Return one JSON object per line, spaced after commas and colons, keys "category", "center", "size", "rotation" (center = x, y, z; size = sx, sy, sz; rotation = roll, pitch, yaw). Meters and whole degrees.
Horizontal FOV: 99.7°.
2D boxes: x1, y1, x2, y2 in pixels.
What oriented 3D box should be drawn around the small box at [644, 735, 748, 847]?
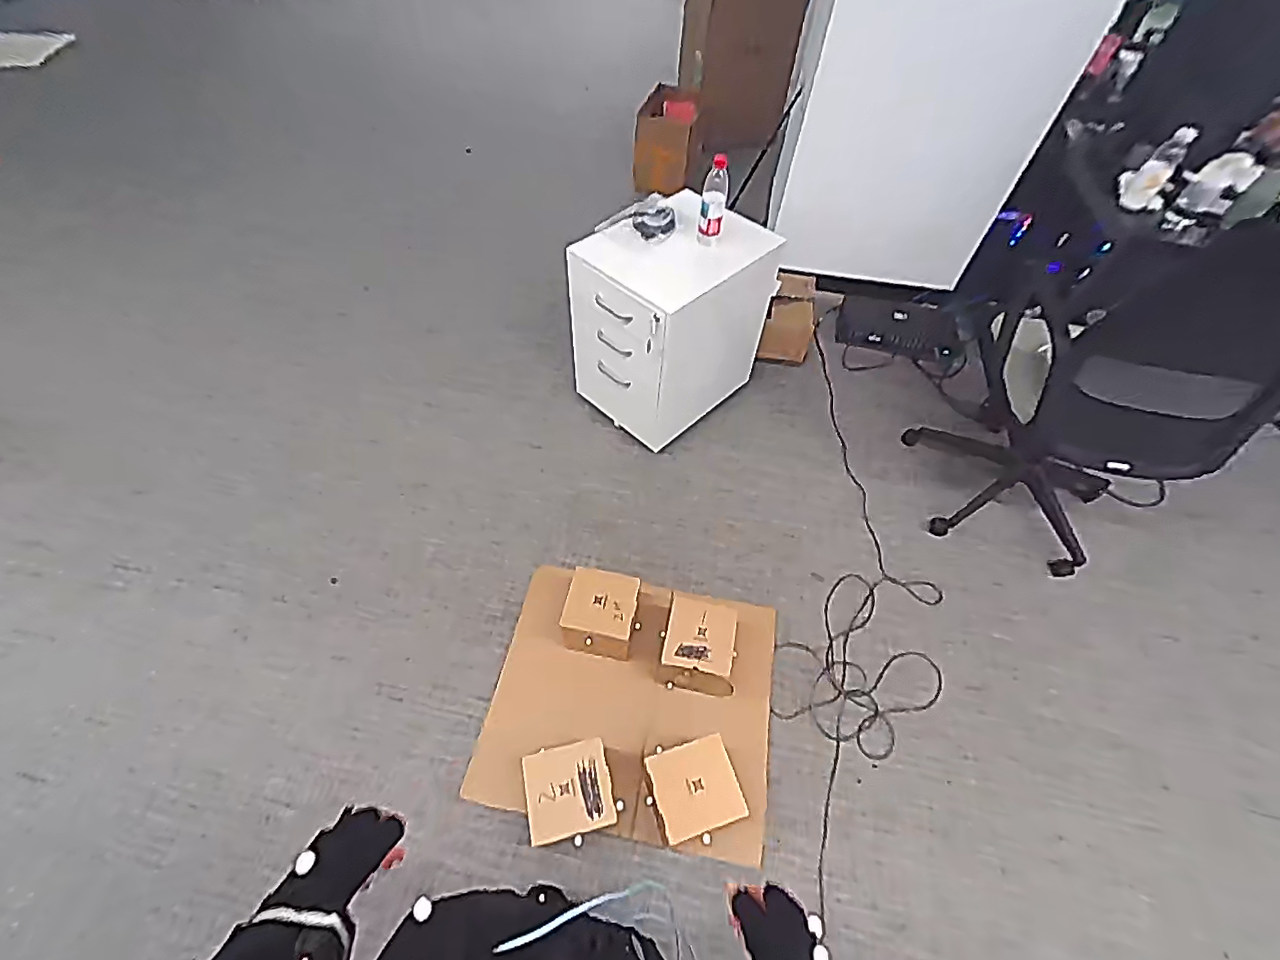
{"category": "small box", "center": [0.114, 0.688, 1.196], "size": [0.179, 0.176, 0.168], "rotation": [-15, 56, -11]}
